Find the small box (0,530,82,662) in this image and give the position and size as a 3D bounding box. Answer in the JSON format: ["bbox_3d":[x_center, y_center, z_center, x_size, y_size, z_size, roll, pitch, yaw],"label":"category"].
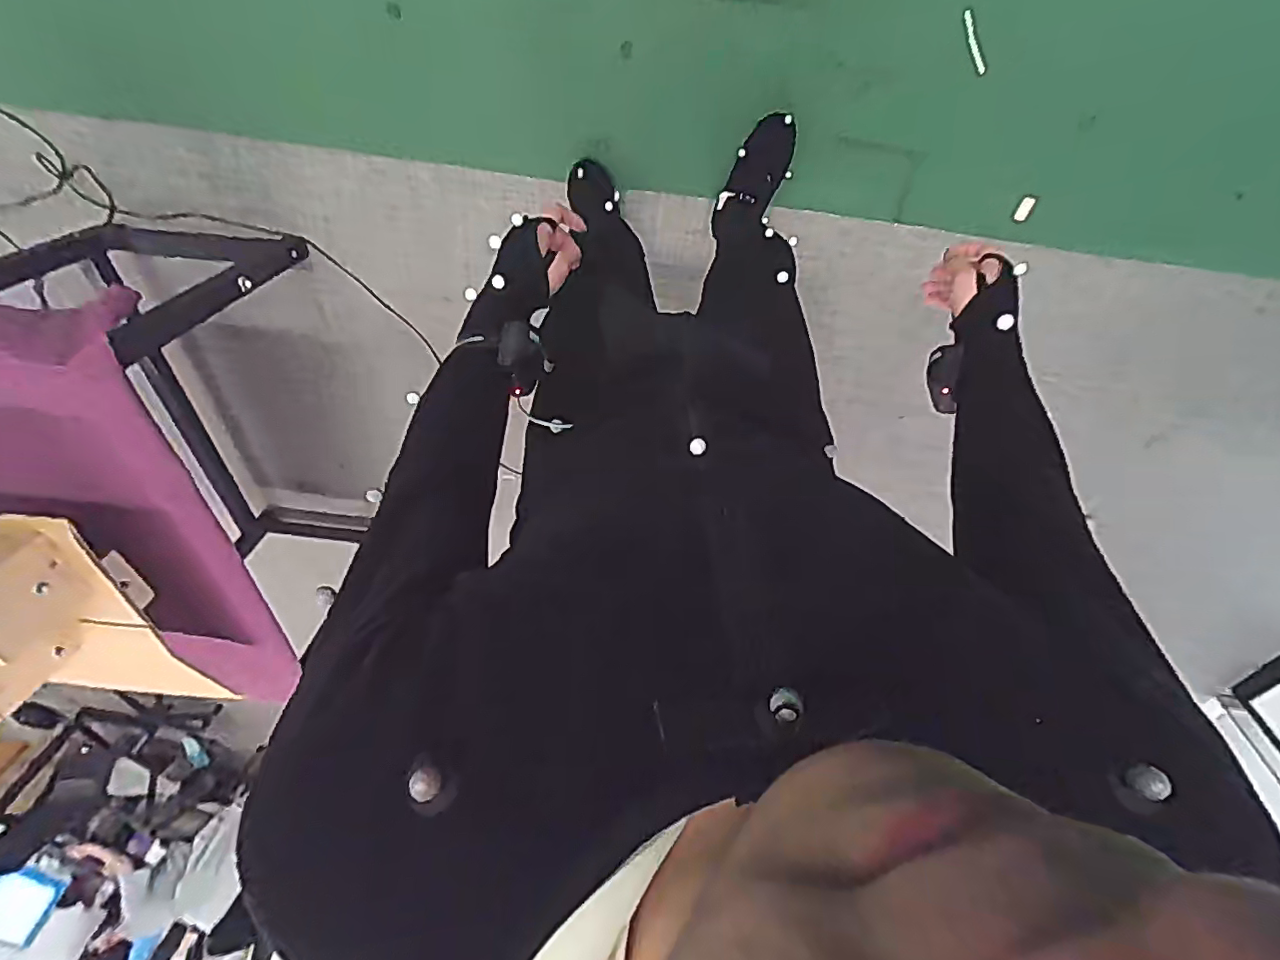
[{"bbox_3d":[-1.163,0.195,0.941,0.179,0.176,0.168,6,129,2],"label":"small box"}]

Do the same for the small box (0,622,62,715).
[{"bbox_3d":[-1.332,0.347,1.077,0.179,0.176,0.168,5,127,3],"label":"small box"}]
